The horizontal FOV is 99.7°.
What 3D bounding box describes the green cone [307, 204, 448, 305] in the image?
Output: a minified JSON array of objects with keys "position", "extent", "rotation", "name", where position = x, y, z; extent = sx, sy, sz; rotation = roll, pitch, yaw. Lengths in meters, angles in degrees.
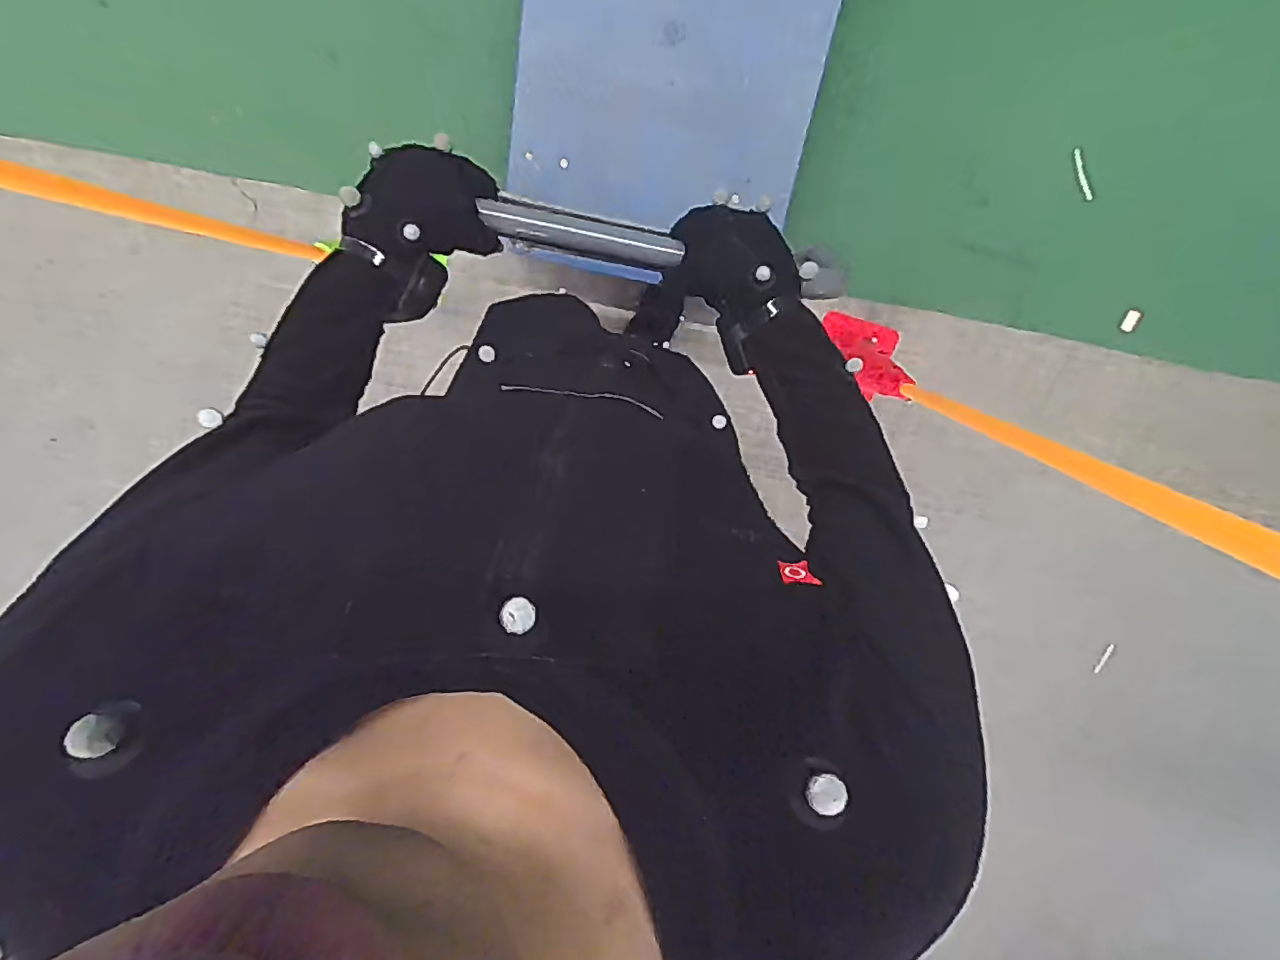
[{"position":[-0.586,-0.492,1.170],"extent":[0.202,0.368,0.200],"rotation":[15,111,-3],"name":"green cone"}]
